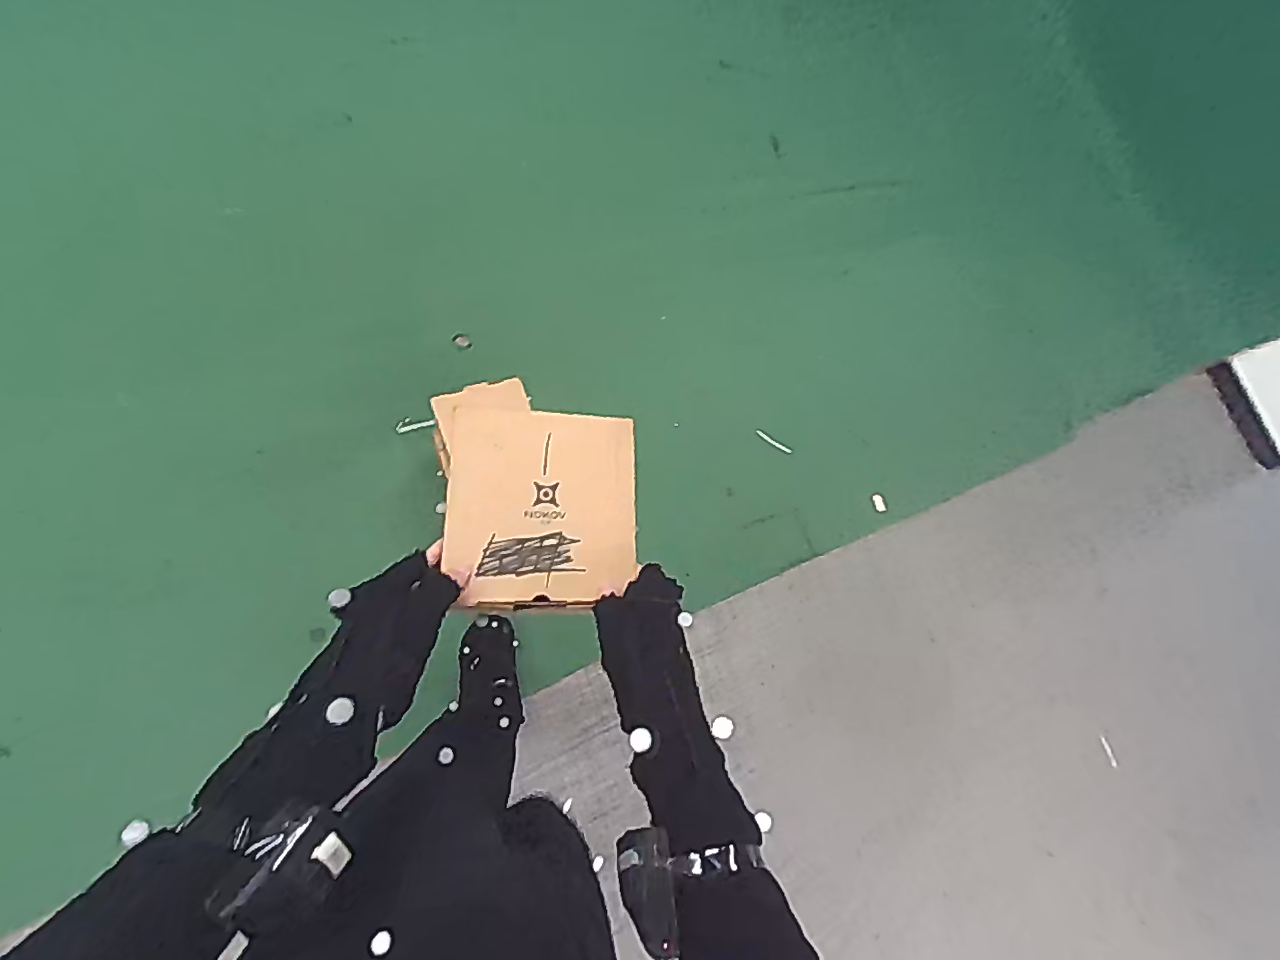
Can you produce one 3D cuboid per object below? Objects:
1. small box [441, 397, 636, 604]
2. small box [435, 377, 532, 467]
[{"bbox_3d":[-0.102,0.035,0.552,0.168,0.176,0.179,3,73,-14],"label":"small box"},{"bbox_3d":[-0.284,-0.071,1.040,0.168,0.176,0.179,-18,82,-20],"label":"small box"}]
